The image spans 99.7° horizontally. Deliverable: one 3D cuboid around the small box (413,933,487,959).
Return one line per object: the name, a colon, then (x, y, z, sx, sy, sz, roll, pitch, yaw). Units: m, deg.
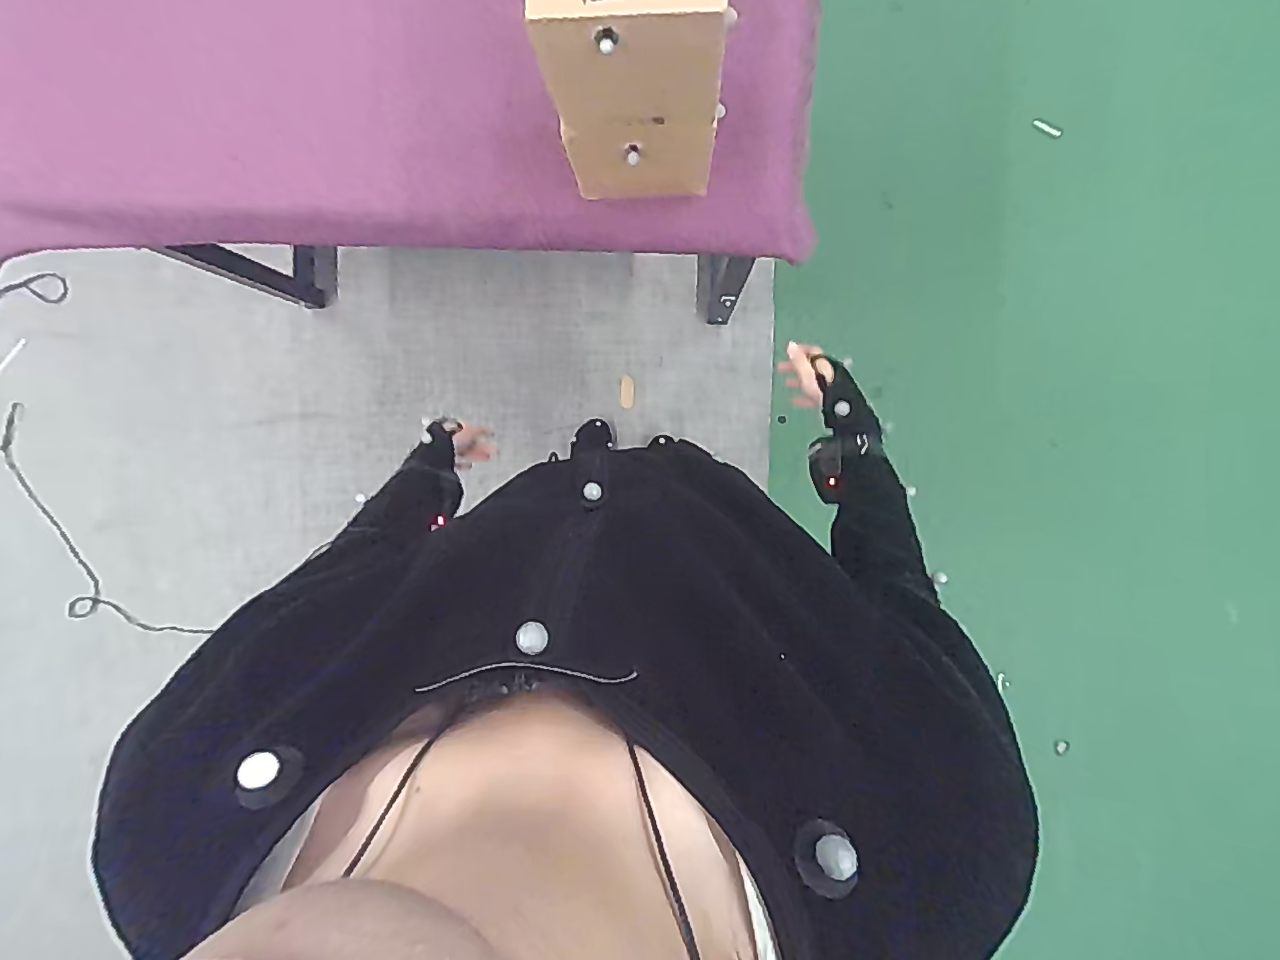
small box: (-0.490, 1.282, 1.350, 0.168, 0.176, 0.179, -6, 92, 7)

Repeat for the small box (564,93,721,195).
small box: (0.008, -0.475, 0.673, 0.179, 0.176, 0.168, 0, 95, 5)

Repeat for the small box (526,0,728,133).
small box: (-0.003, -0.465, 0.509, 0.168, 0.176, 0.179, 1, 94, 6)
